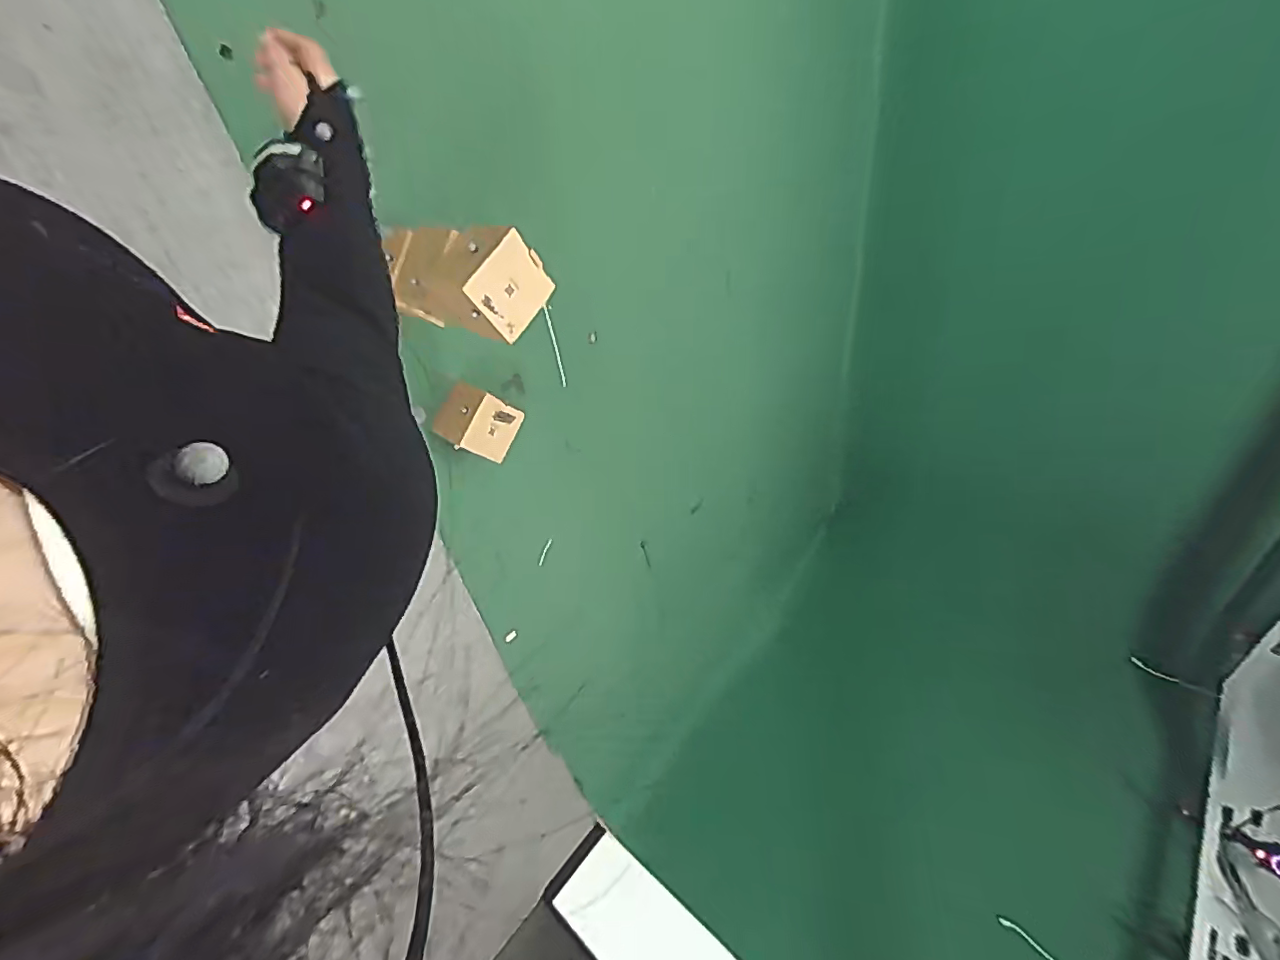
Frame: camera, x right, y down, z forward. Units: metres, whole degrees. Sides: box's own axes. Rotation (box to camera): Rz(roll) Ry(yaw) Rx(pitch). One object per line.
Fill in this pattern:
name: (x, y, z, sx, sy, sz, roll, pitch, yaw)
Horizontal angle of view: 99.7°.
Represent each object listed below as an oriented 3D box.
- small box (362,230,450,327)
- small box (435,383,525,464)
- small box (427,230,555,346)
small box: (-0.579, -0.513, 1.376, 0.168, 0.176, 0.179, 18, 94, -53)
small box: (-0.494, -0.177, 1.656, 0.168, 0.176, 0.179, 29, 87, -53)
small box: (-0.327, -0.425, 1.184, 0.179, 0.176, 0.168, -57, 142, -13)
